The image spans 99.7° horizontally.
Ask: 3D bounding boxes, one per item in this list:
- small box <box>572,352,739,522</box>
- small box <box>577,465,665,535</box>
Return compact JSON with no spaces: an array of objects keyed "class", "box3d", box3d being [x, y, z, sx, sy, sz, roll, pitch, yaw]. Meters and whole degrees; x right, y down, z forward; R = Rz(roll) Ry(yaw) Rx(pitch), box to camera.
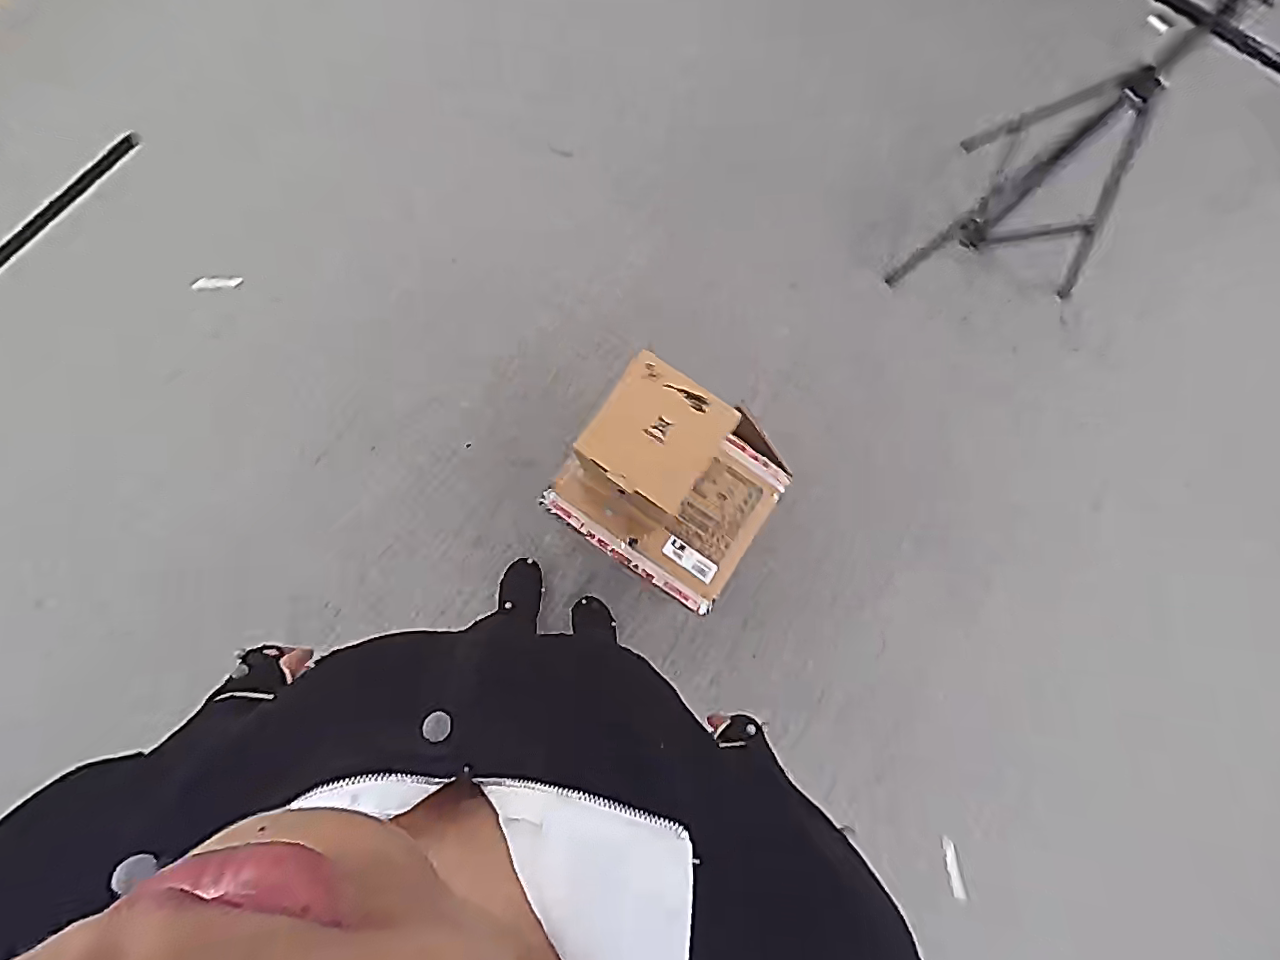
[{"class":"small box","box3d":[0.022,-0.051,0.811,0.168,0.176,0.179,36,82,4]},{"class":"small box","box3d":[0.006,-0.017,0.971,0.168,0.176,0.179,34,82,4]}]
